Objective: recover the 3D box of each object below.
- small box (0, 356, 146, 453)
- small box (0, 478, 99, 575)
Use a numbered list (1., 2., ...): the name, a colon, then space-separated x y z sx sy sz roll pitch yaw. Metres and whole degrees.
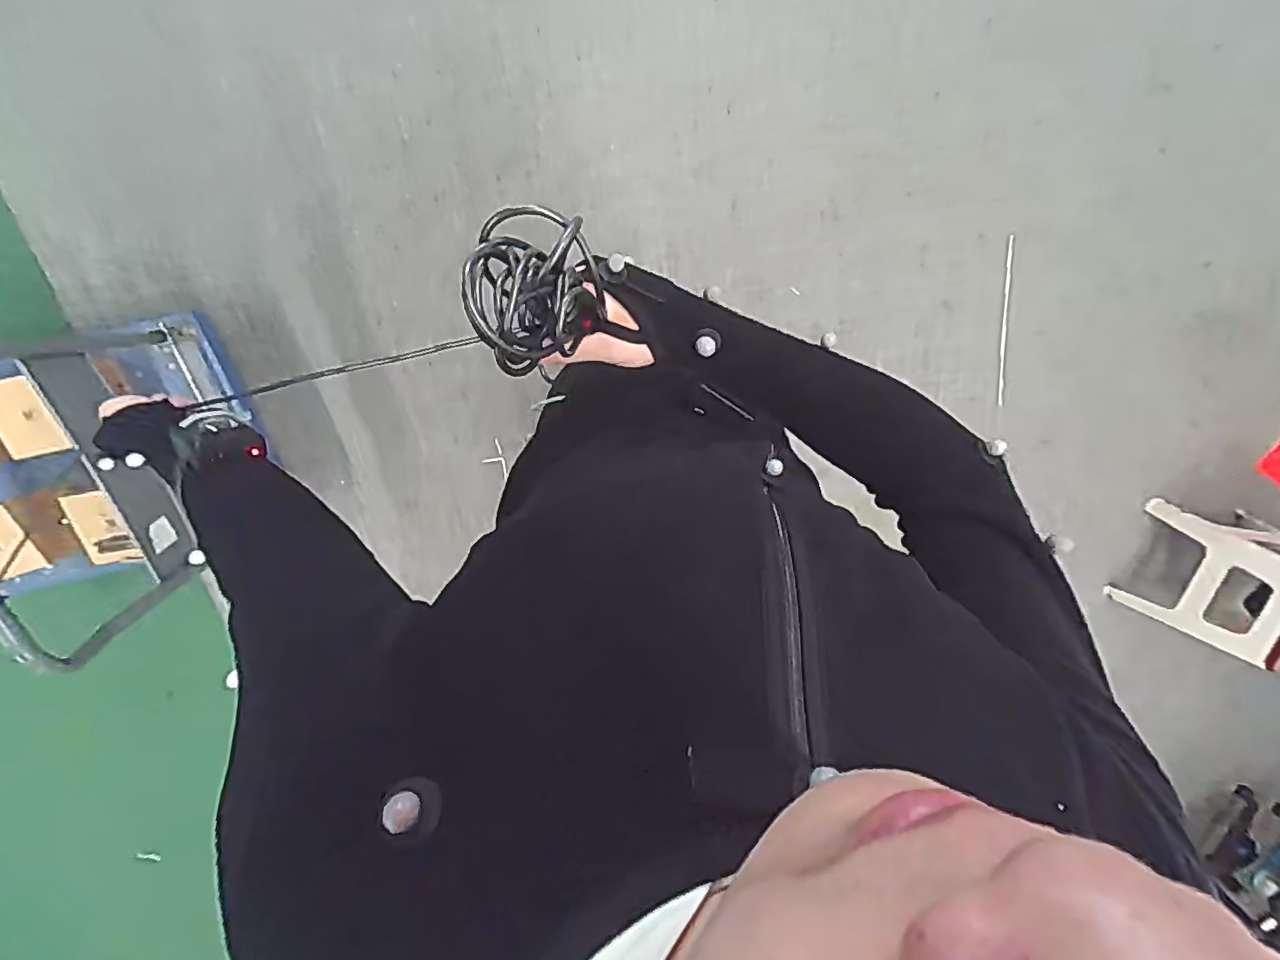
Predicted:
1. small box: -1.293 -0.175 1.219 0.179 0.176 0.168 -13 110 -1
2. small box: -1.484 0.111 1.308 0.179 0.176 0.168 -17 110 2
